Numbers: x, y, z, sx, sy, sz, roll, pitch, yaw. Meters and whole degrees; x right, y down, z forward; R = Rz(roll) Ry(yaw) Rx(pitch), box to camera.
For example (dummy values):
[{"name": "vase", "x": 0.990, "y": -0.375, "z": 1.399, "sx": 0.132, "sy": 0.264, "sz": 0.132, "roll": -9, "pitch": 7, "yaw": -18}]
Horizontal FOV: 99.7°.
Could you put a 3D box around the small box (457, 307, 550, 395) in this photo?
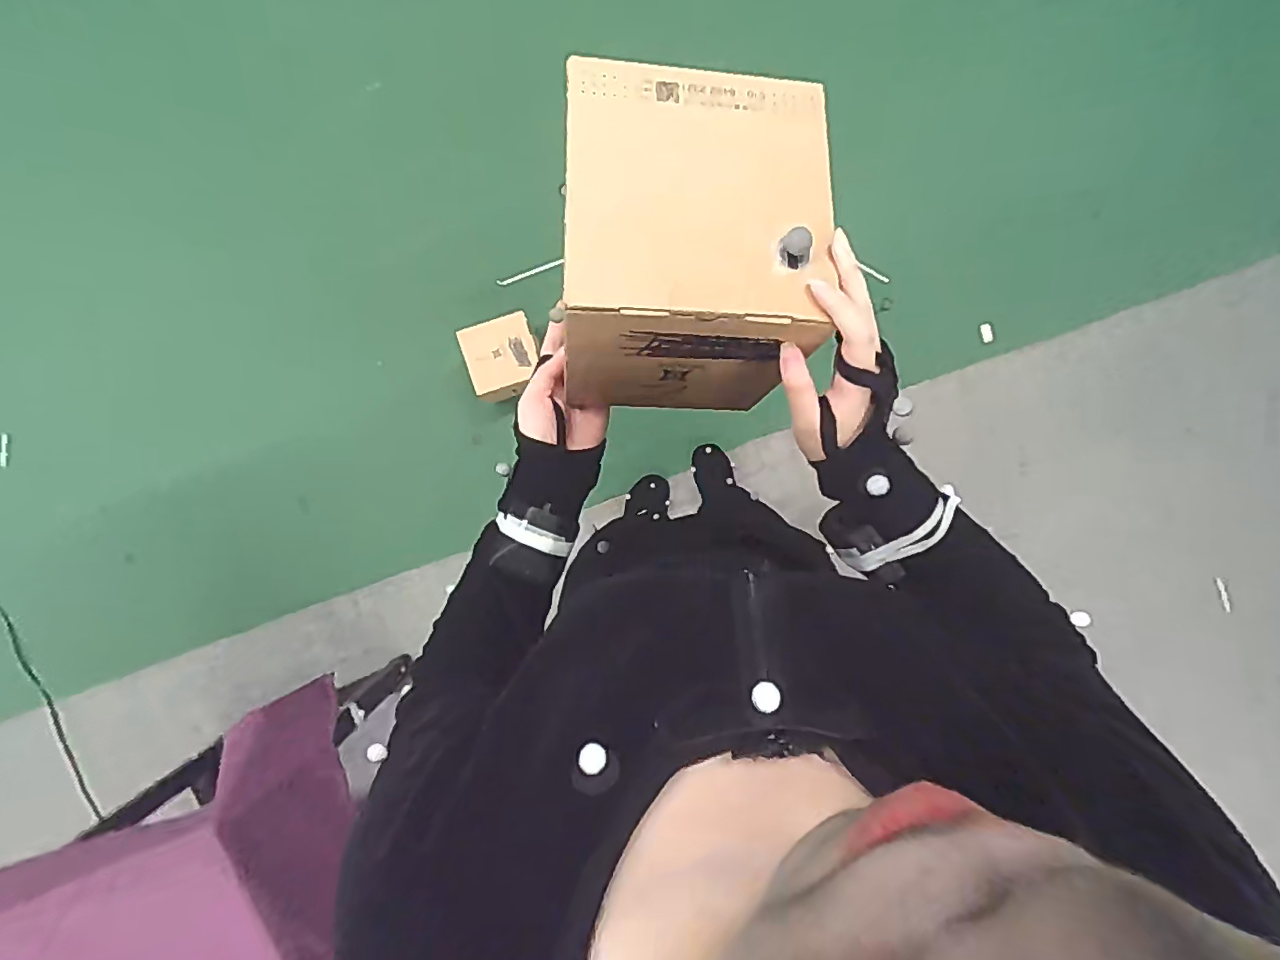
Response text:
[{"name": "small box", "x": -0.341, "y": -0.326, "z": 1.394, "sx": 0.179, "sy": 0.176, "sz": 0.168, "roll": -17, "pitch": 93, "yaw": 1}]
